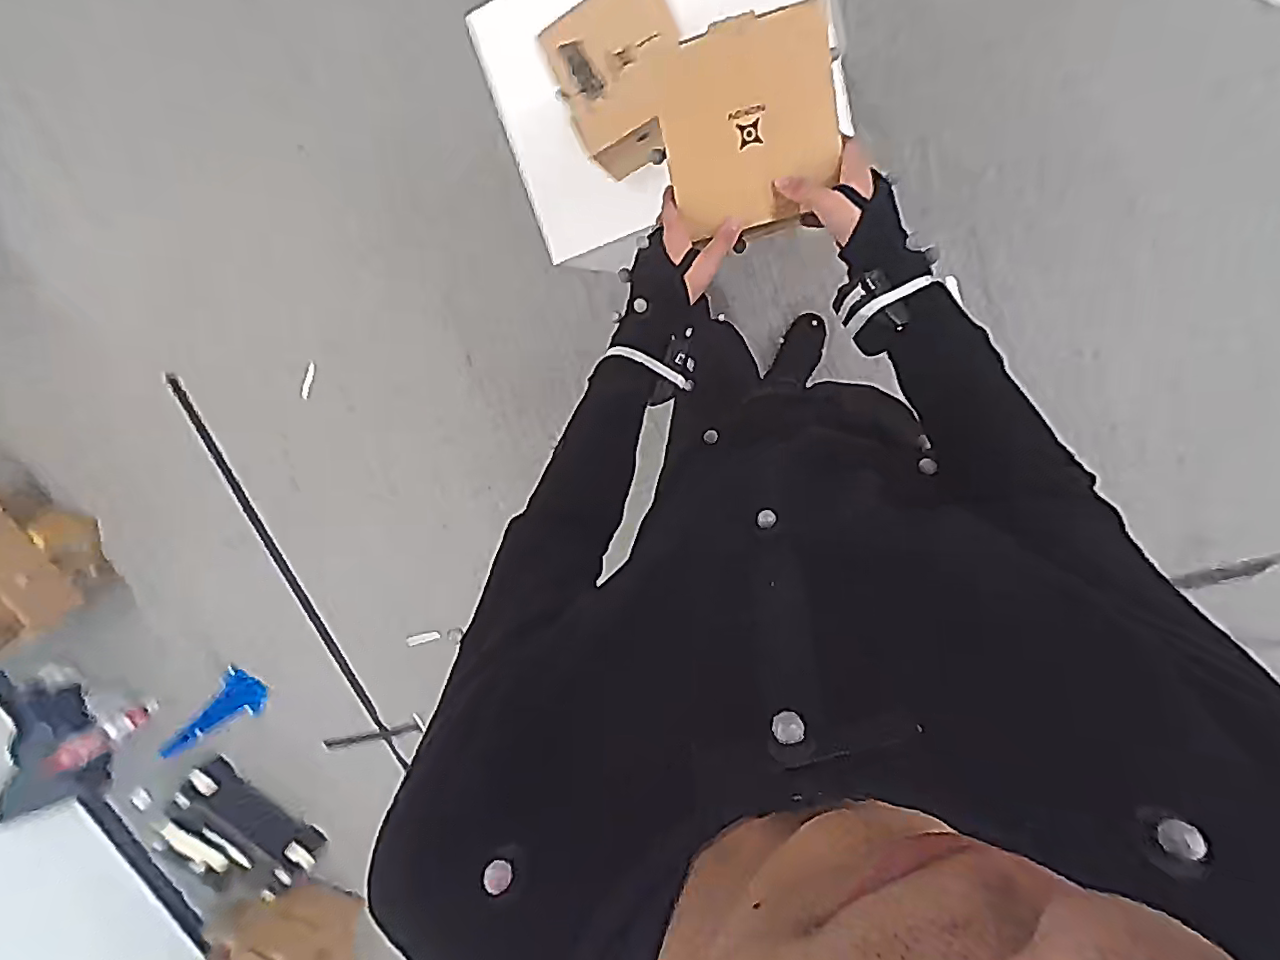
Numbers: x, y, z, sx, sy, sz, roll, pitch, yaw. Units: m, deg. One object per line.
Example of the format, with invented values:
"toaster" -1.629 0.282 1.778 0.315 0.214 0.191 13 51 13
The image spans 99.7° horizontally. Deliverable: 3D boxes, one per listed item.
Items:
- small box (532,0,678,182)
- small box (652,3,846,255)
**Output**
"small box" -0.022 -0.569 0.790 0.179 0.176 0.168 -24 103 17
"small box" 0.116 -0.359 0.598 0.168 0.176 0.179 -11 104 9
